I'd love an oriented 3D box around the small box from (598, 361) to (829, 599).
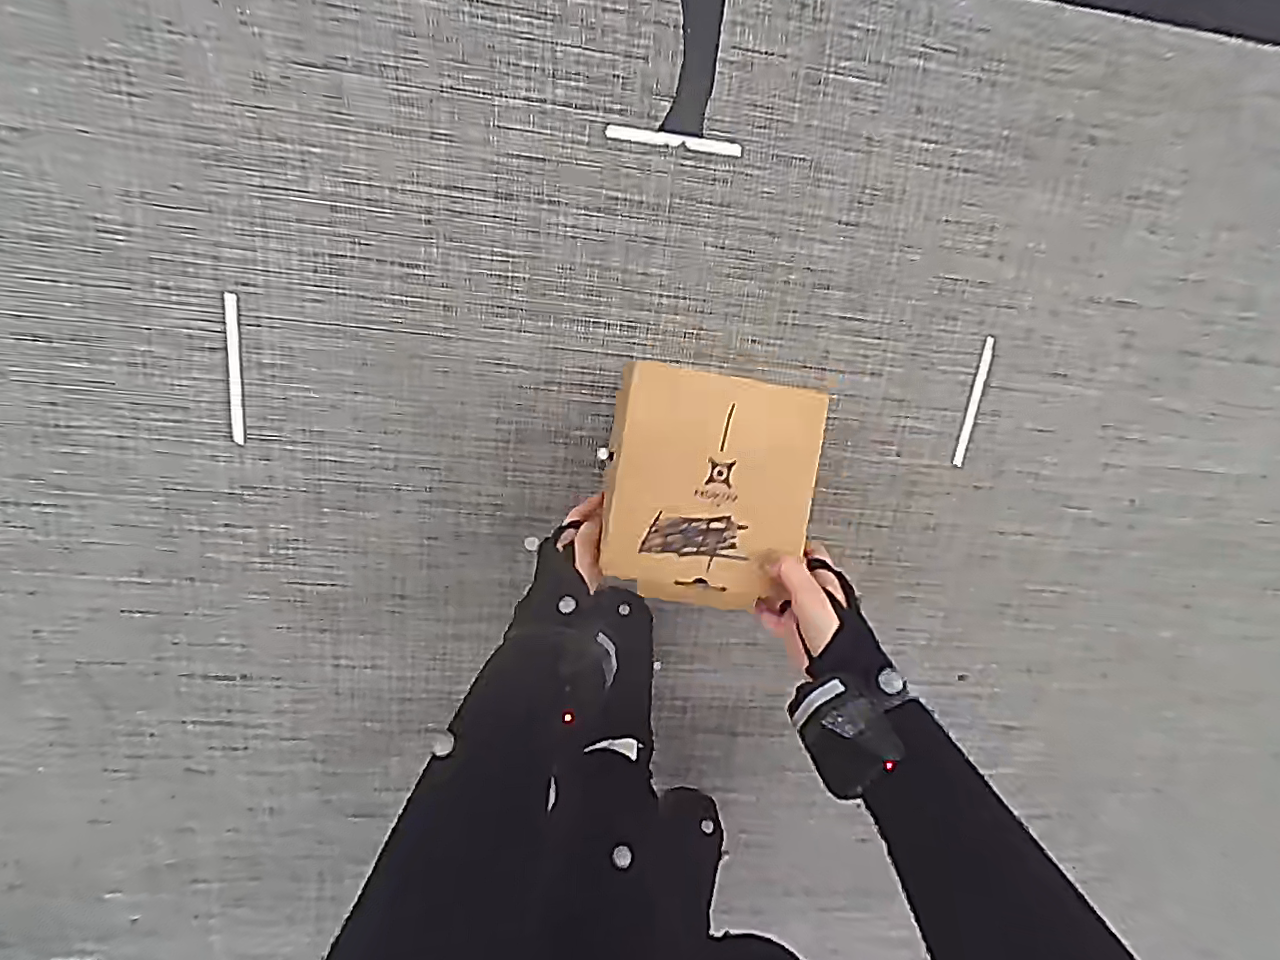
[{"bbox_3d":[0.053,-0.005,0.514,0.168,0.176,0.179,8,95,-6],"label":"small box"}]
